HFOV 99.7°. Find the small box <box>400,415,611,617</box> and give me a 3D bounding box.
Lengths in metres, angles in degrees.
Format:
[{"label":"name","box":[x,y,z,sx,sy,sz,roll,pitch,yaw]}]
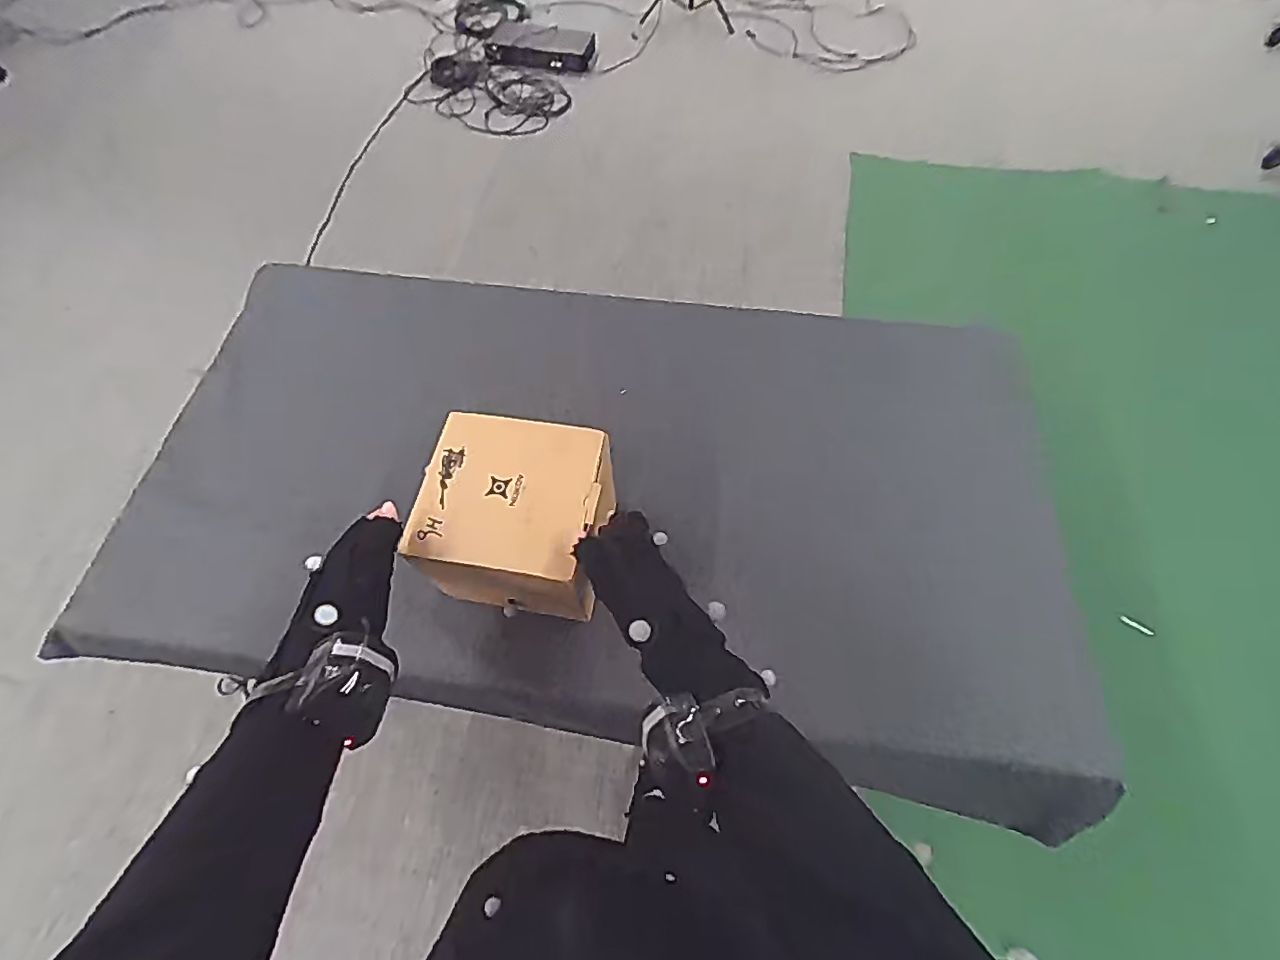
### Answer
[{"label":"small box","box":[-0.132,0.050,0.617,0.179,0.176,0.168,9,63,4]}]
